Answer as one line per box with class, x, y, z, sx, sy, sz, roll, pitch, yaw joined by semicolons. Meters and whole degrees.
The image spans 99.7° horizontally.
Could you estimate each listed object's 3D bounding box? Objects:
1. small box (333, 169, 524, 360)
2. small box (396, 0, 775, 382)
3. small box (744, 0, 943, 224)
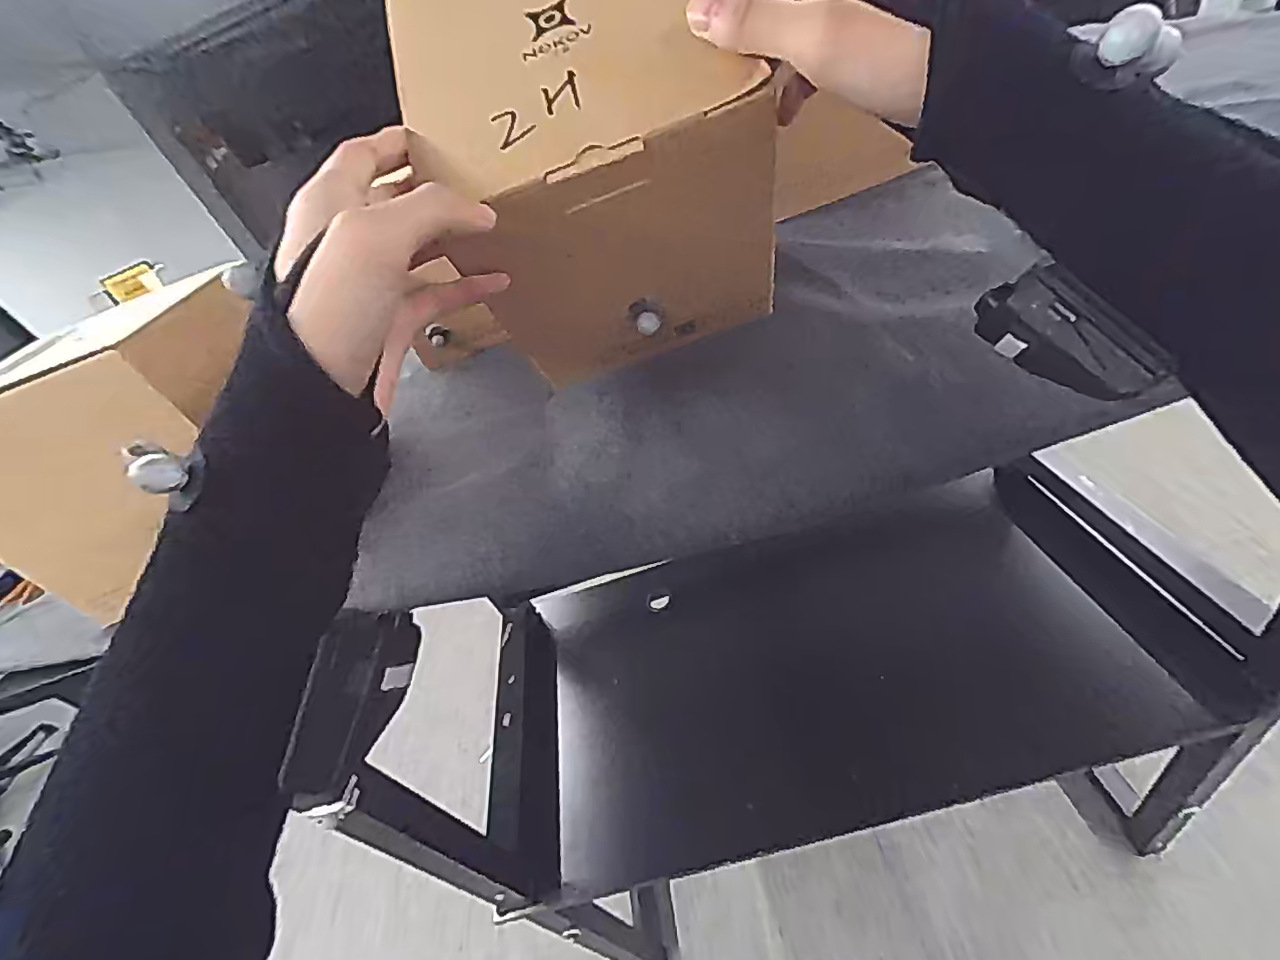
small box;-0.186;-0.252;0.592;0.168;0.176;0.179;-19;37;6
small box;-0.023;-0.192;0.339;0.168;0.176;0.179;-18;70;8
small box;0.190;-0.401;0.569;0.179;0.176;0.168;-18;38;9
